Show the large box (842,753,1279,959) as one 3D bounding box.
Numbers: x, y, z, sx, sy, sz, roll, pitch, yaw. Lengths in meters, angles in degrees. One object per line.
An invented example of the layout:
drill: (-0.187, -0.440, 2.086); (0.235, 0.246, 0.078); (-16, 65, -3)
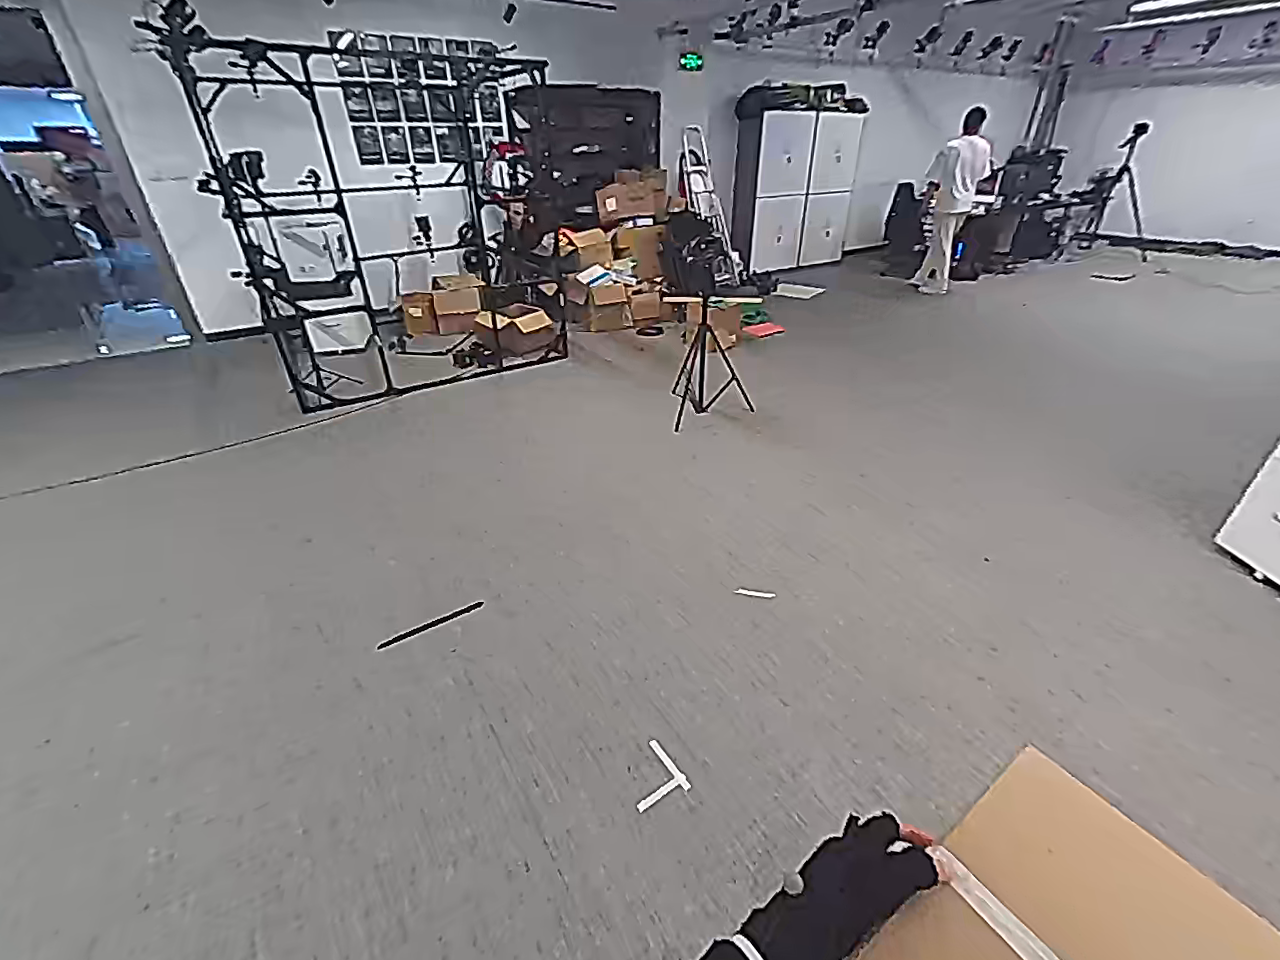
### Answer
large box: (0.384, 0.537, 0.437); (0.320, 0.320, 0.408); (-27, 43, -23)
